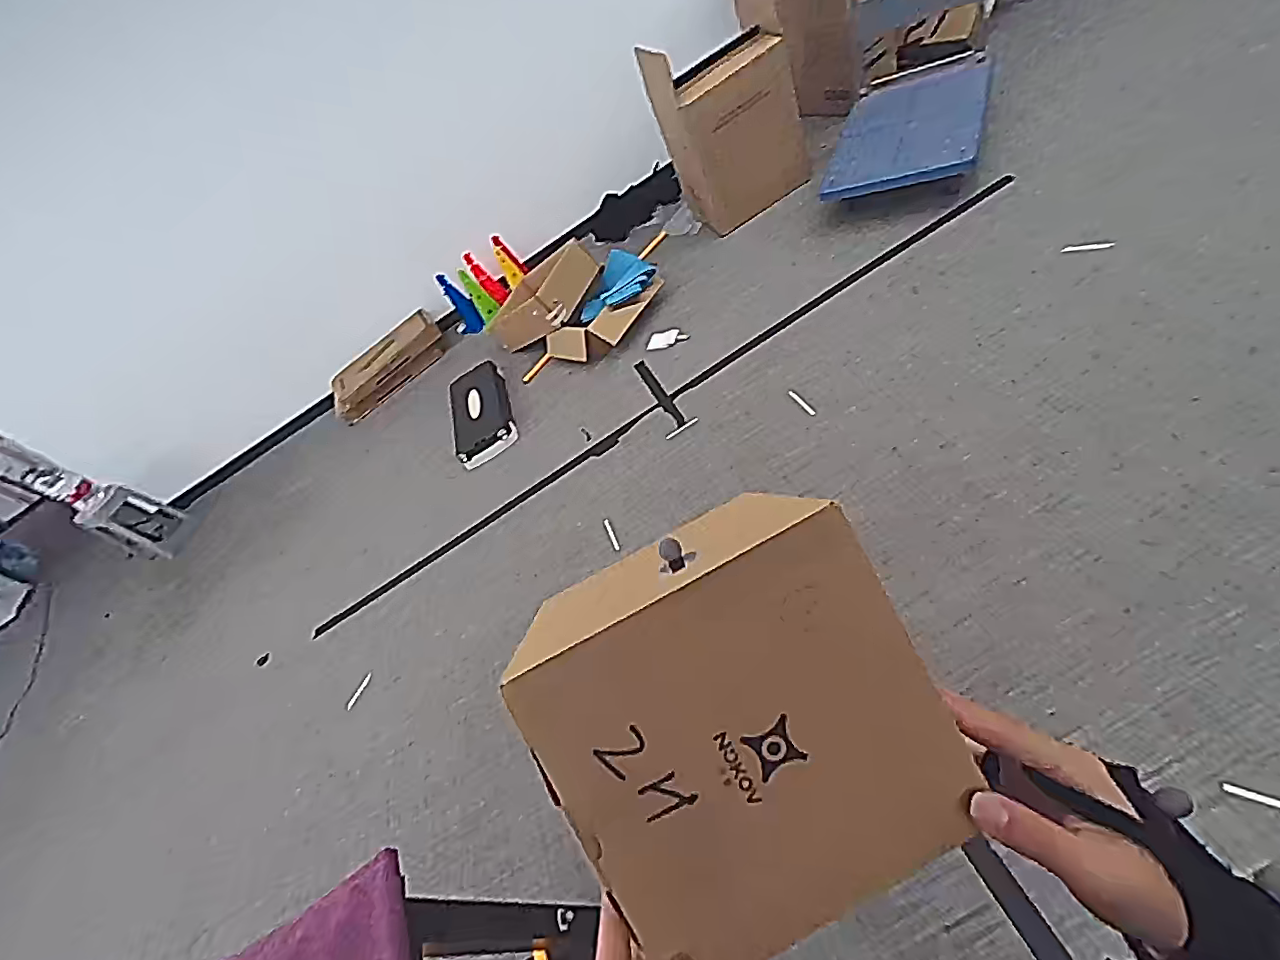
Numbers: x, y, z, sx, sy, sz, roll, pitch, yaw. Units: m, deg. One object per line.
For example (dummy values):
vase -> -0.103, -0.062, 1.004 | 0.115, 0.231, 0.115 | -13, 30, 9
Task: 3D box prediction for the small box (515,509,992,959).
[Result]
small box -> 0.050, 0.127, 0.328 | 0.179, 0.168, 0.176 | -28, 1, -2
